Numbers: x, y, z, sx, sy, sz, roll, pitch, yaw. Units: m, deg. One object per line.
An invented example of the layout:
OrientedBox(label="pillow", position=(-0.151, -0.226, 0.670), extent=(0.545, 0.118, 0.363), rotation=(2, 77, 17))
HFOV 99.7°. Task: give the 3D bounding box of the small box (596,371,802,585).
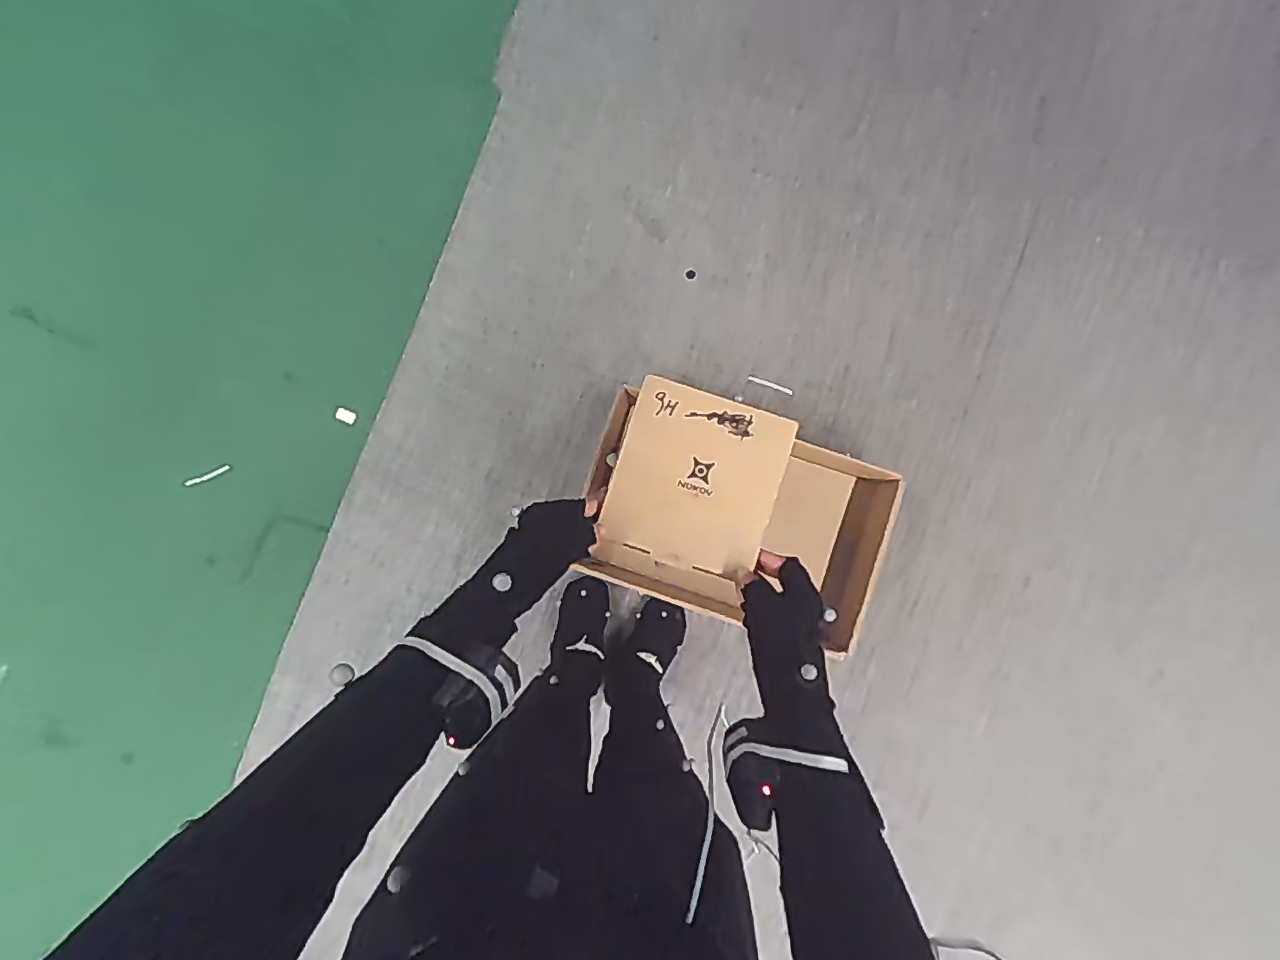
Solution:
OrientedBox(label="small box", position=(0.059, 0.000, 0.616), extent=(0.168, 0.176, 0.179), rotation=(18, 89, -1))
